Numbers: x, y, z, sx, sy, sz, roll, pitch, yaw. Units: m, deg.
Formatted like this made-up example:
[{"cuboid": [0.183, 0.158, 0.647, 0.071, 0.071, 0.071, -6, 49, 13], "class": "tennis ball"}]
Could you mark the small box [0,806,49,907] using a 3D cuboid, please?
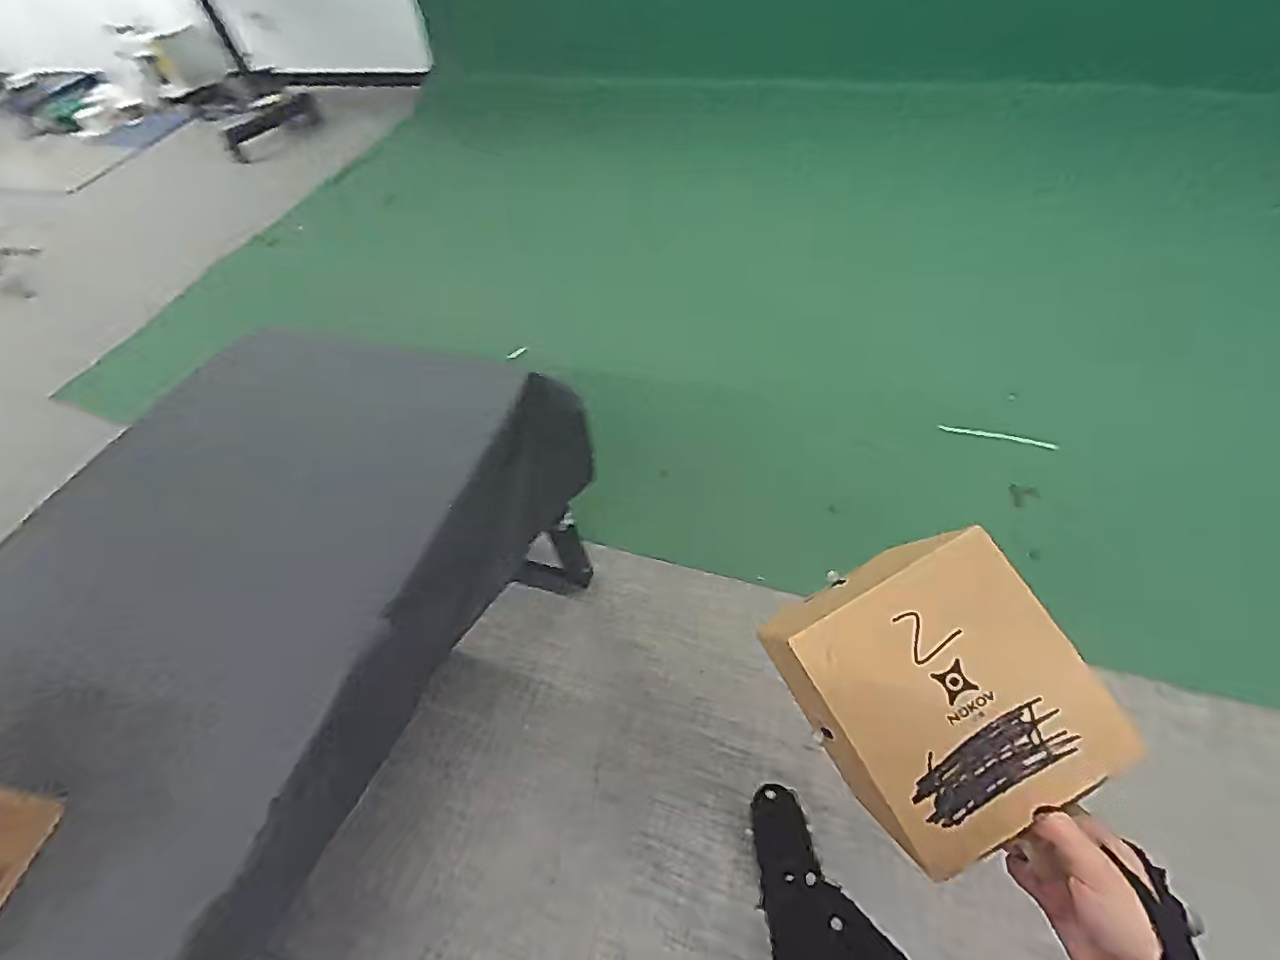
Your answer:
[{"cuboid": [-0.705, 0.363, 0.460, 0.179, 0.176, 0.168, 4, 55, 9], "class": "small box"}]
